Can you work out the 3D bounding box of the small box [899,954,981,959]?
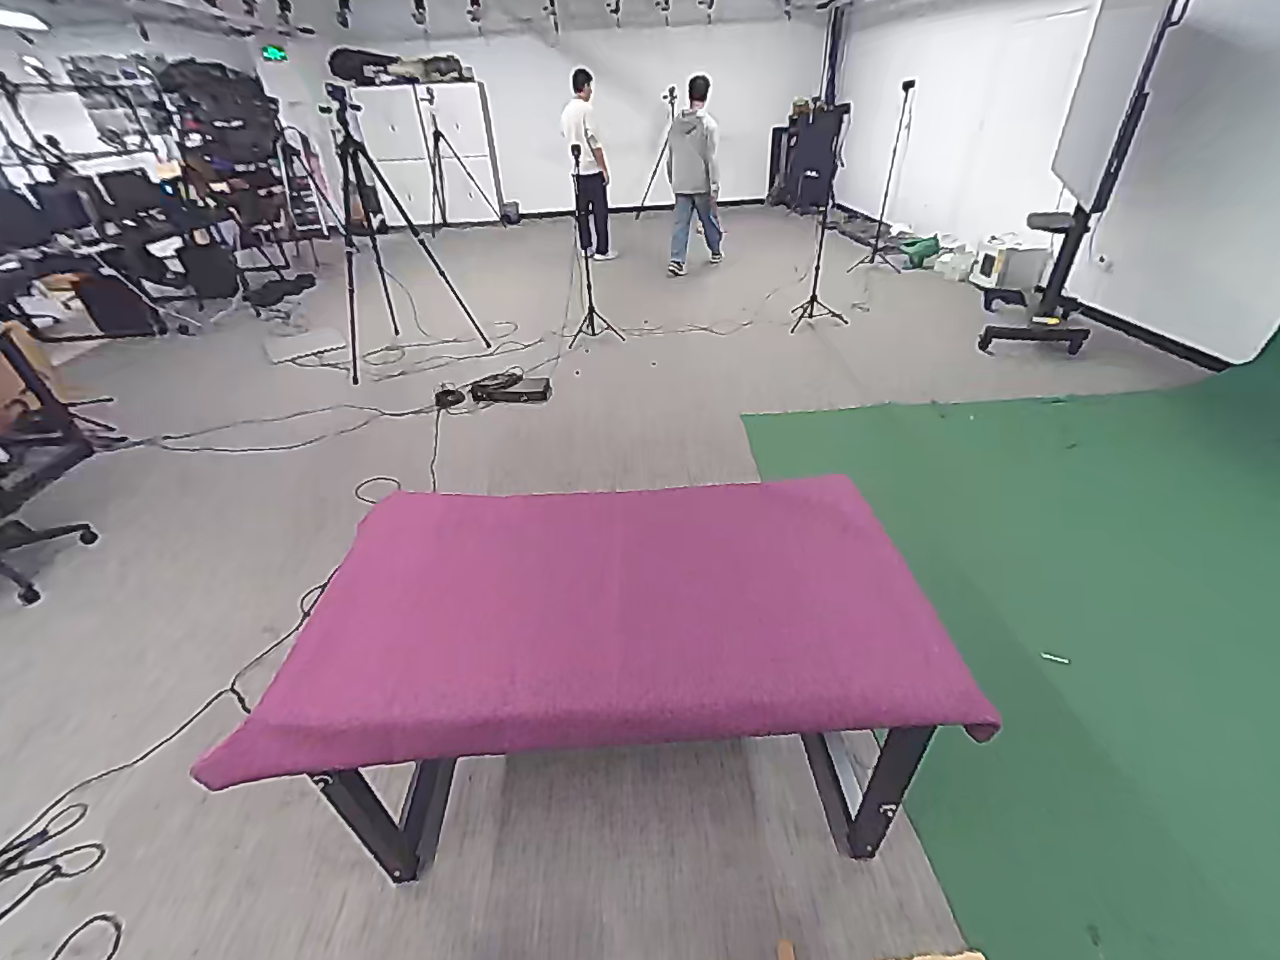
[{"bbox_3d":[0.431,0.826,0.782,0.168,0.176,0.179,-3,36,-2],"label":"small box"}]
